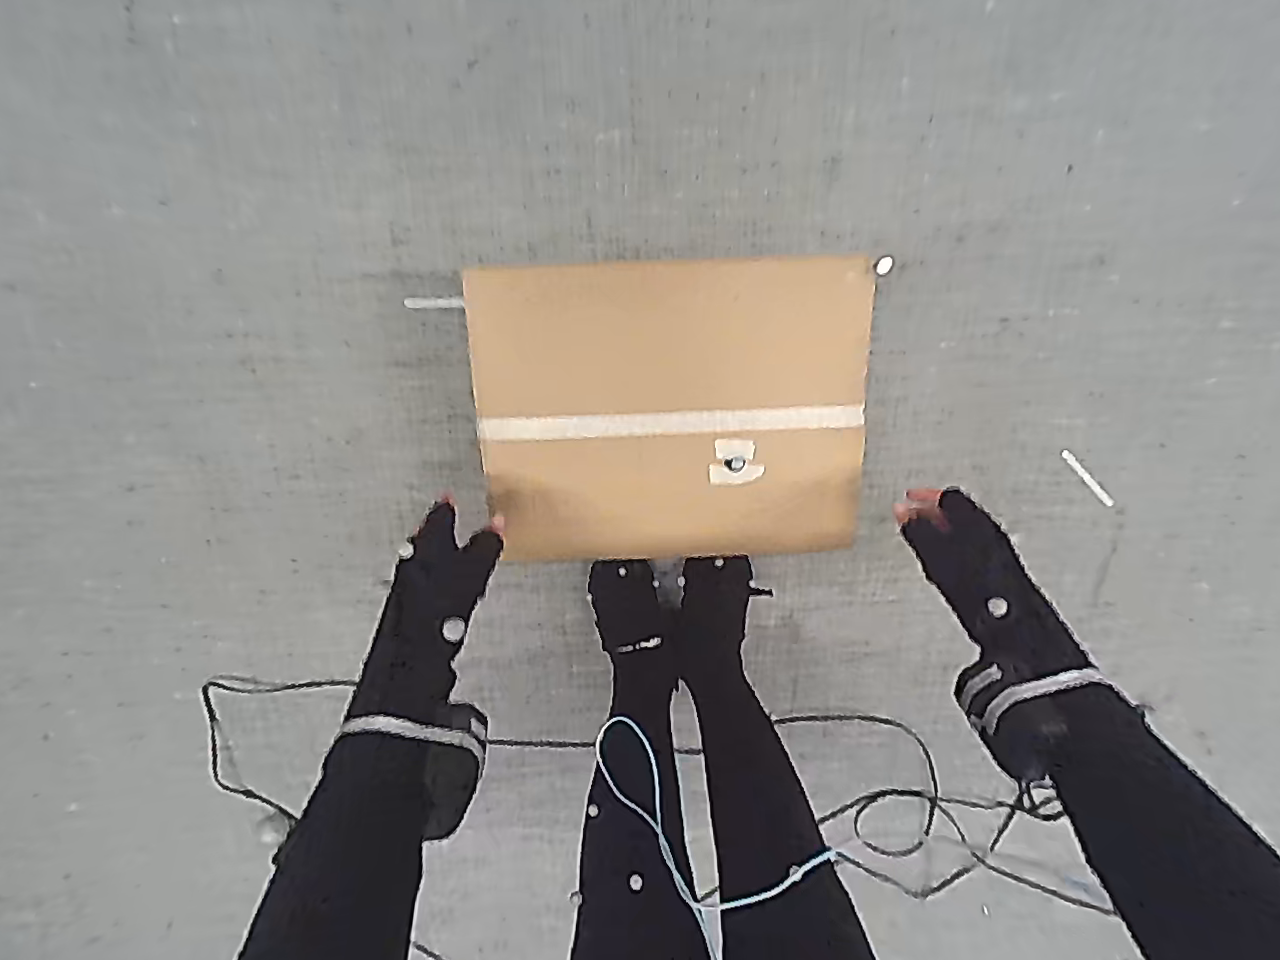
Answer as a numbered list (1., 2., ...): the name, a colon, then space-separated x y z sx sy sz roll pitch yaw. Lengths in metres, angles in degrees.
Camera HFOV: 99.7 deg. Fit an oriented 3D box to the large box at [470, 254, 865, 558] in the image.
1. large box: 0.030 -0.107 0.720 0.408 0.320 0.320 -2 106 -1
